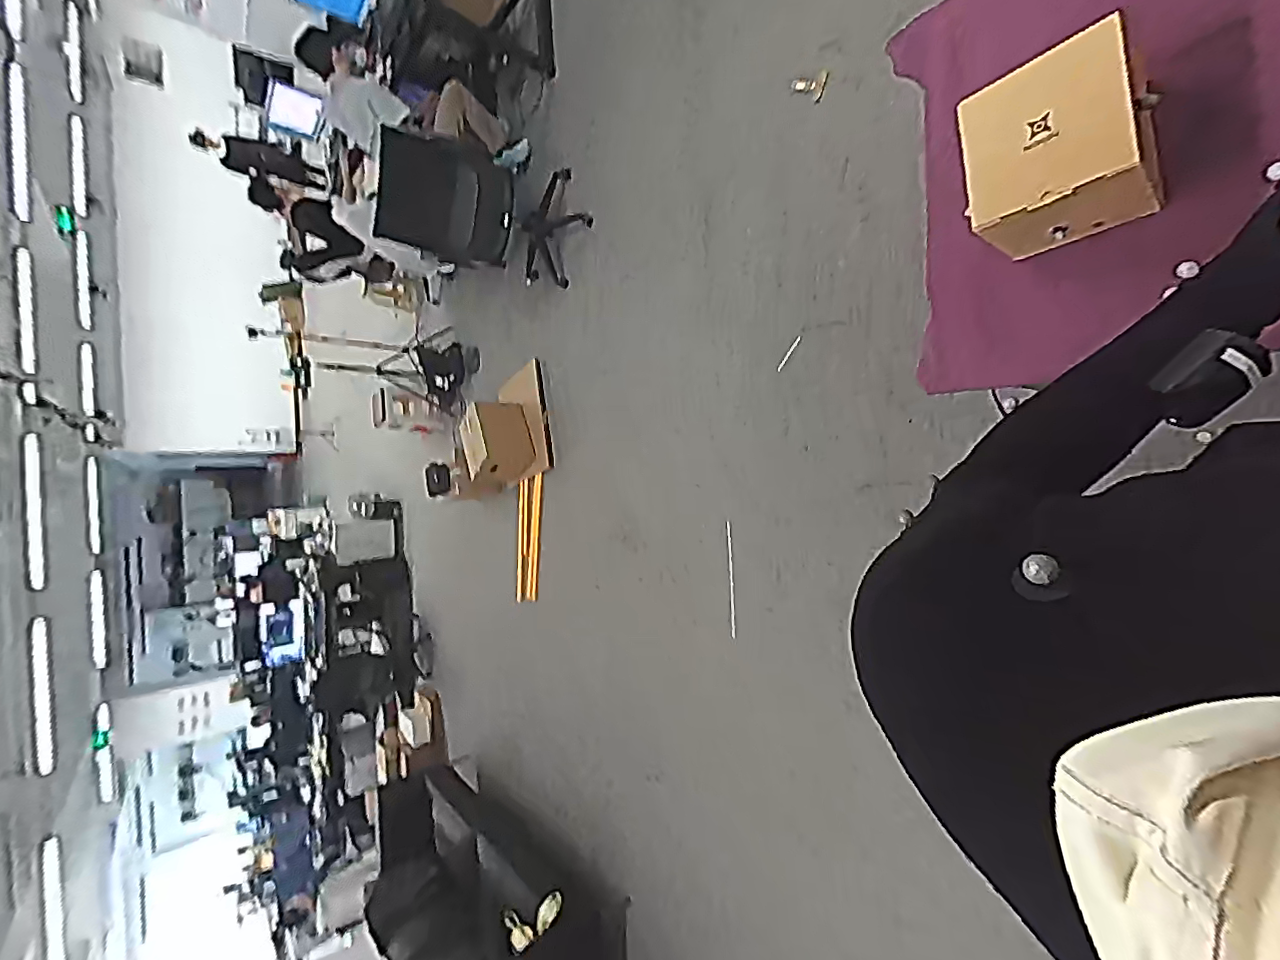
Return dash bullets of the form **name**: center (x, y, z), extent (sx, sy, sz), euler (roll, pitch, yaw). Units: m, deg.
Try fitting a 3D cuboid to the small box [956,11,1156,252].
- **small box**: center (0.535, -0.425, 0.697), extent (0.168, 0.176, 0.179), euler (-10, 85, 50)
